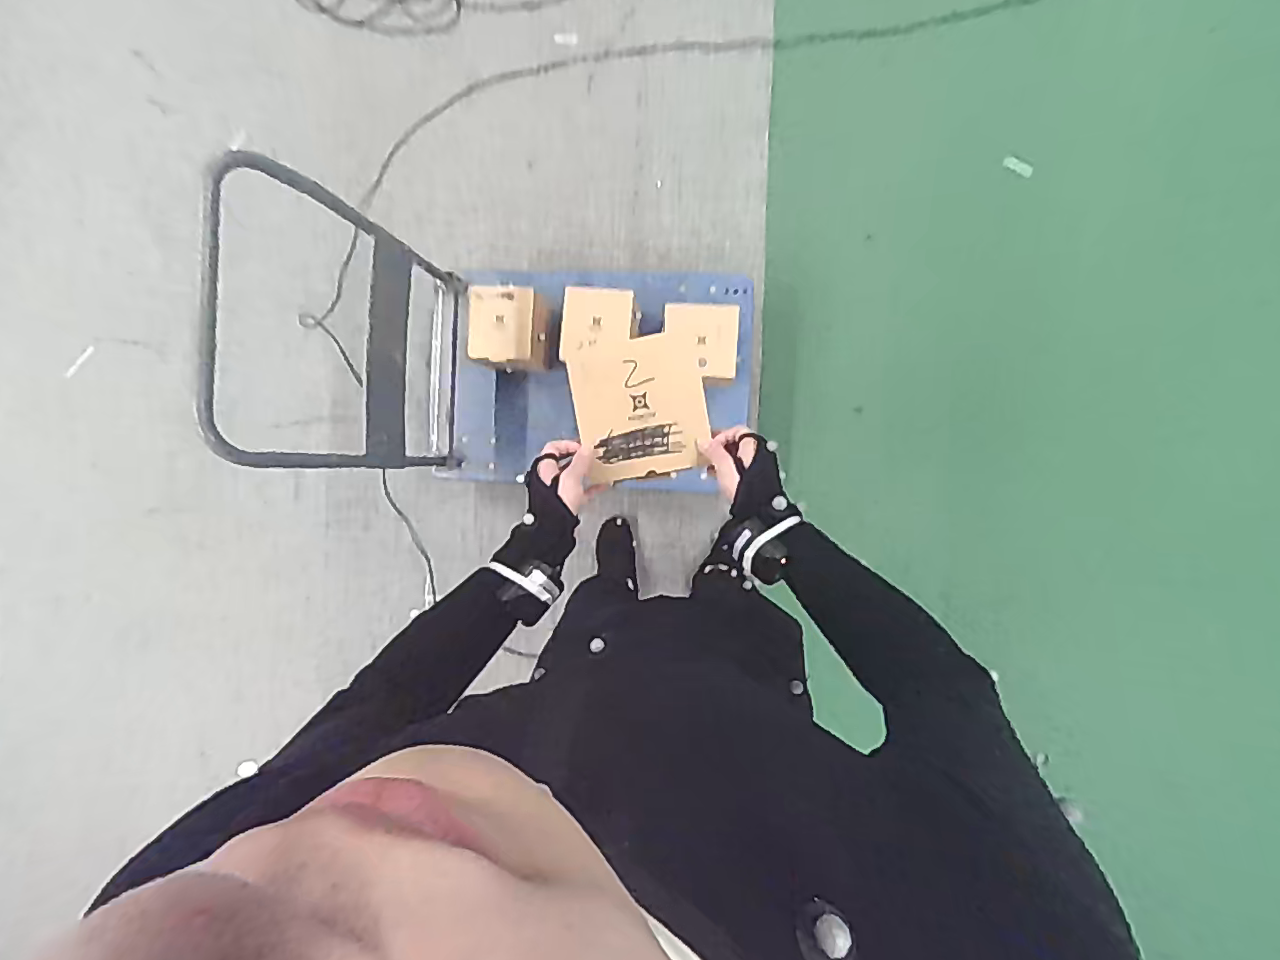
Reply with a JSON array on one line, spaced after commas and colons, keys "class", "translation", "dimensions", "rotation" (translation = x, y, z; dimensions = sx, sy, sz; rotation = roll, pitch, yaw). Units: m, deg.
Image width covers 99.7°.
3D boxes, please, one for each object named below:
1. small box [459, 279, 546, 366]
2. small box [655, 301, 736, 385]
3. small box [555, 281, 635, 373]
[{"class": "small box", "translation": [-0.340, -0.390, 1.367], "dimensions": [0.168, 0.176, 0.179], "rotation": [5, 92, 5]}, {"class": "small box", "translation": [0.136, -0.330, 1.329], "dimensions": [0.179, 0.176, 0.168], "rotation": [5, 92, 5]}, {"class": "small box", "translation": [-0.105, -0.374, 1.348], "dimensions": [0.168, 0.176, 0.179], "rotation": [7, 92, 5]}]
